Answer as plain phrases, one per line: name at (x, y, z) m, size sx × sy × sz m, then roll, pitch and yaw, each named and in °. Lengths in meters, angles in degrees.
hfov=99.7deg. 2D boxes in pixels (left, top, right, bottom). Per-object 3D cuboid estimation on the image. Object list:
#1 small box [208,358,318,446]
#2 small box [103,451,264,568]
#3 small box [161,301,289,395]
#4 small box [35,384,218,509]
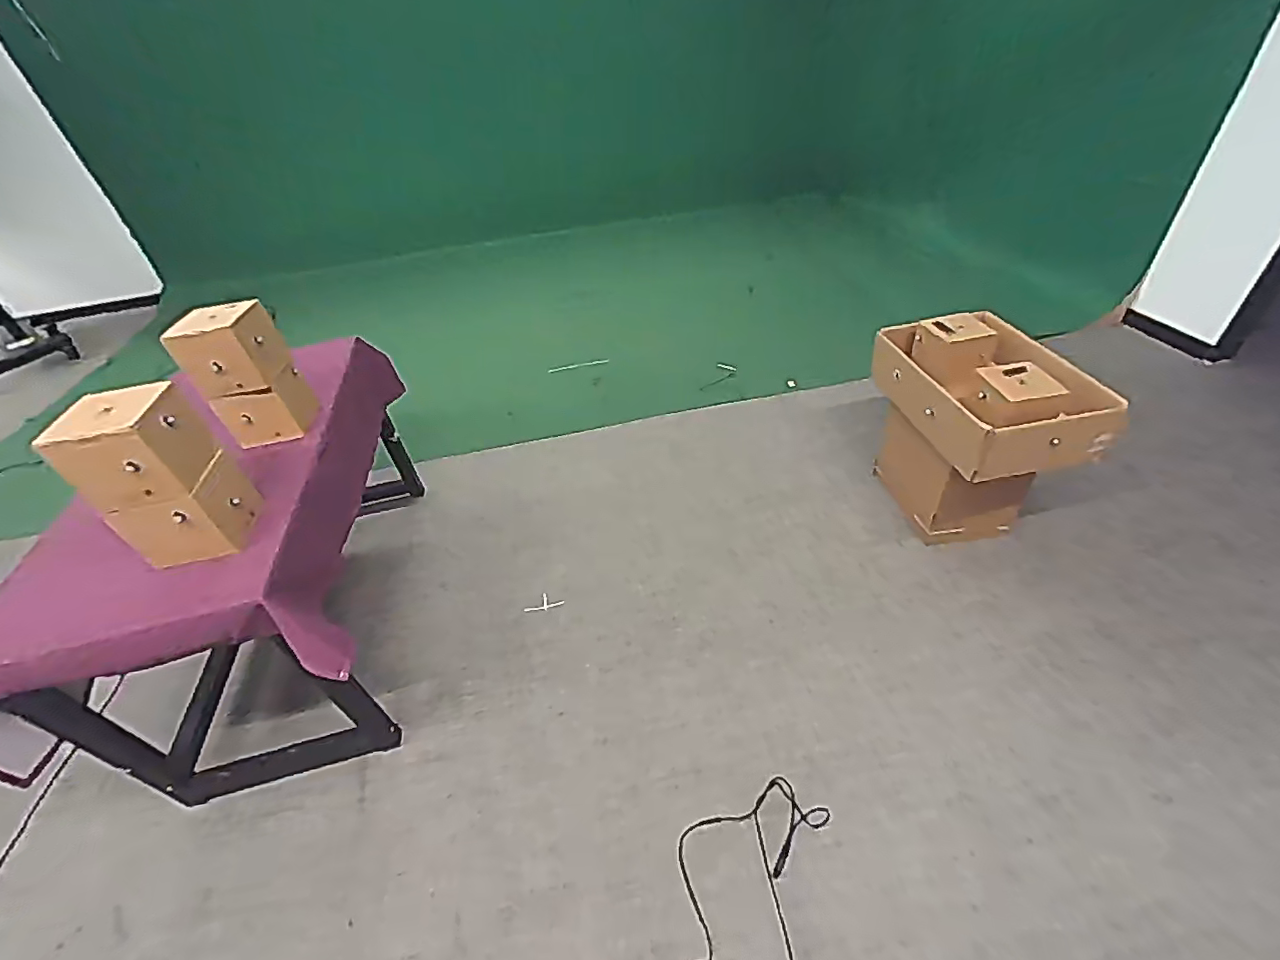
small box at (-1.020, -0.209, 1.483) m, size 0.168 × 0.176 × 0.179 m, roll -13°, pitch 41°, yaw -5°
small box at (-0.959, 0.065, 1.160) m, size 0.179 × 0.176 × 0.168 m, roll -12°, pitch 41°, yaw -4°
small box at (-1.034, -0.328, 1.370) m, size 0.168 × 0.176 × 0.179 m, roll -10°, pitch 41°, yaw -1°
small box at (-0.979, -0.060, 1.057) m, size 0.168 × 0.176 × 0.179 m, roll -12°, pitch 41°, yaw -6°
